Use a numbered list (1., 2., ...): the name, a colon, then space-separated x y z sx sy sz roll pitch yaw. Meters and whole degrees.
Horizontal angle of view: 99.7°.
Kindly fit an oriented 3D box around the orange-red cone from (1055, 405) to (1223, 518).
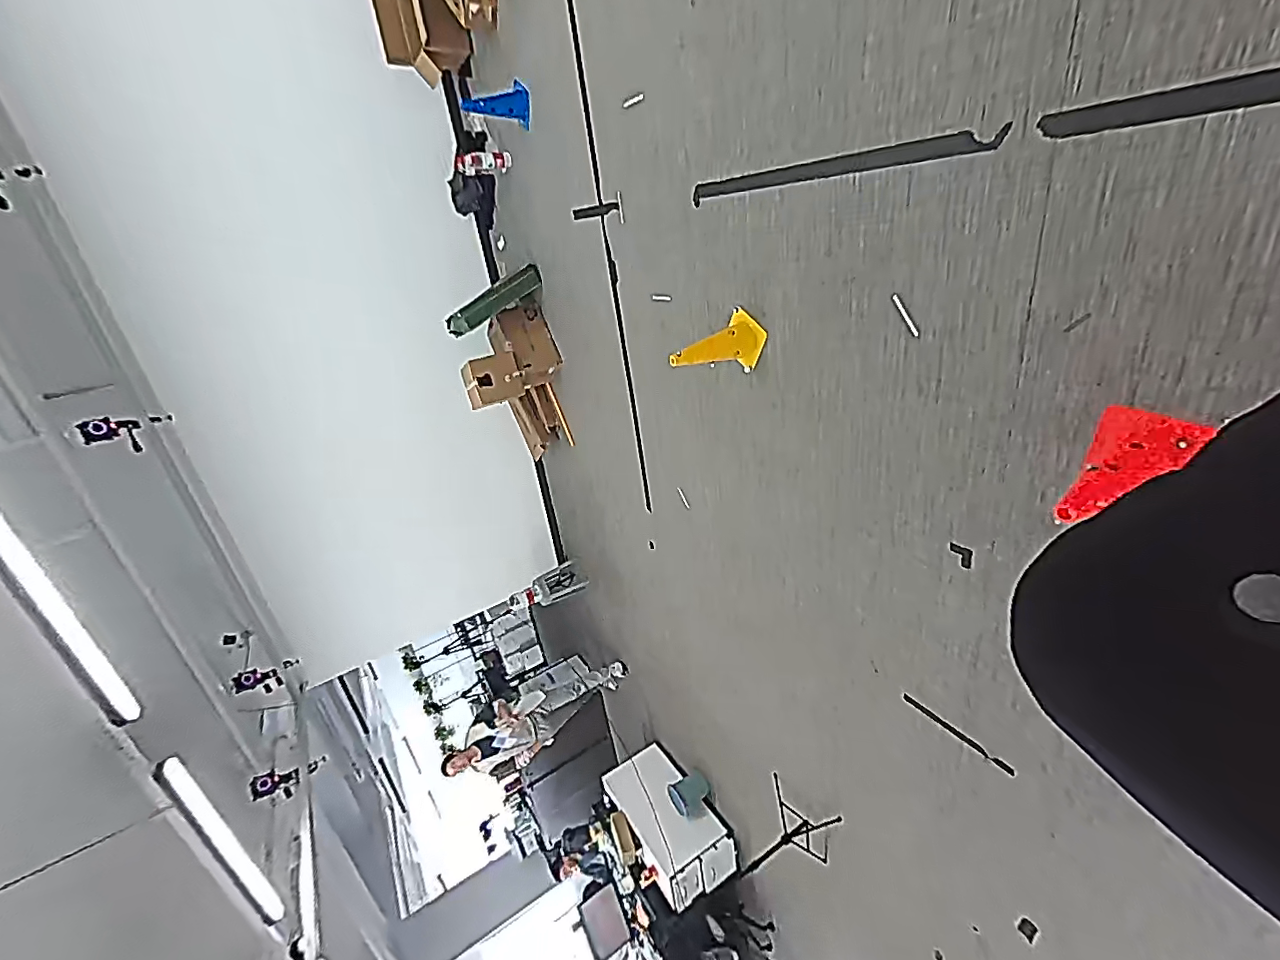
1. orange-red cone: 0.969 0.002 1.117 0.199 0.360 0.198 39 141 49
